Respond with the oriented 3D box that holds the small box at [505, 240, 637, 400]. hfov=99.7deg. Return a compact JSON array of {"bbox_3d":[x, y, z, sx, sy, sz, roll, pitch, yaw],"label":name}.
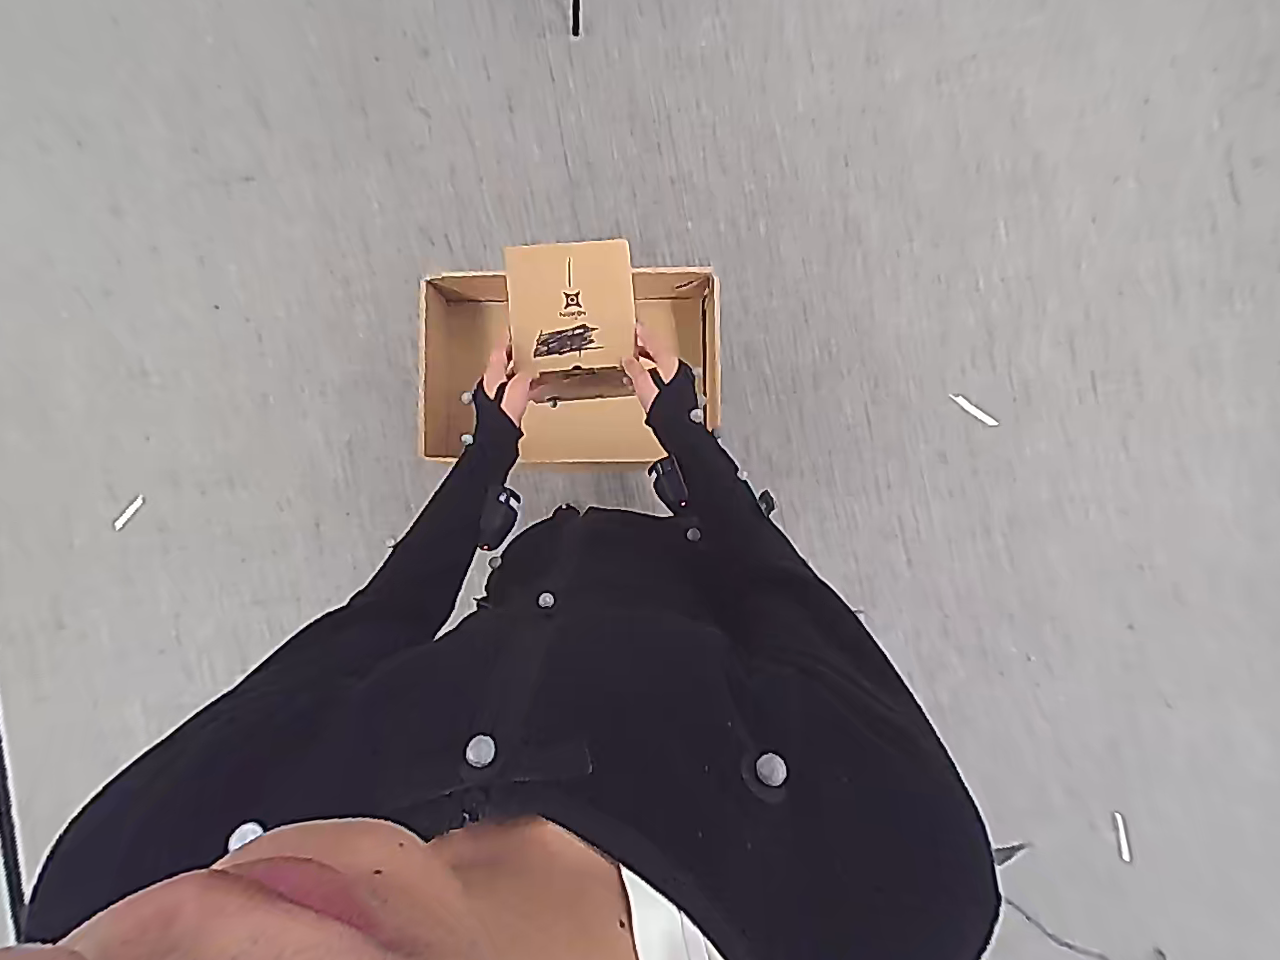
[{"bbox_3d":[-0.091,-0.219,0.785,0.168,0.176,0.179,-5,85,-2],"label":"small box"}]
